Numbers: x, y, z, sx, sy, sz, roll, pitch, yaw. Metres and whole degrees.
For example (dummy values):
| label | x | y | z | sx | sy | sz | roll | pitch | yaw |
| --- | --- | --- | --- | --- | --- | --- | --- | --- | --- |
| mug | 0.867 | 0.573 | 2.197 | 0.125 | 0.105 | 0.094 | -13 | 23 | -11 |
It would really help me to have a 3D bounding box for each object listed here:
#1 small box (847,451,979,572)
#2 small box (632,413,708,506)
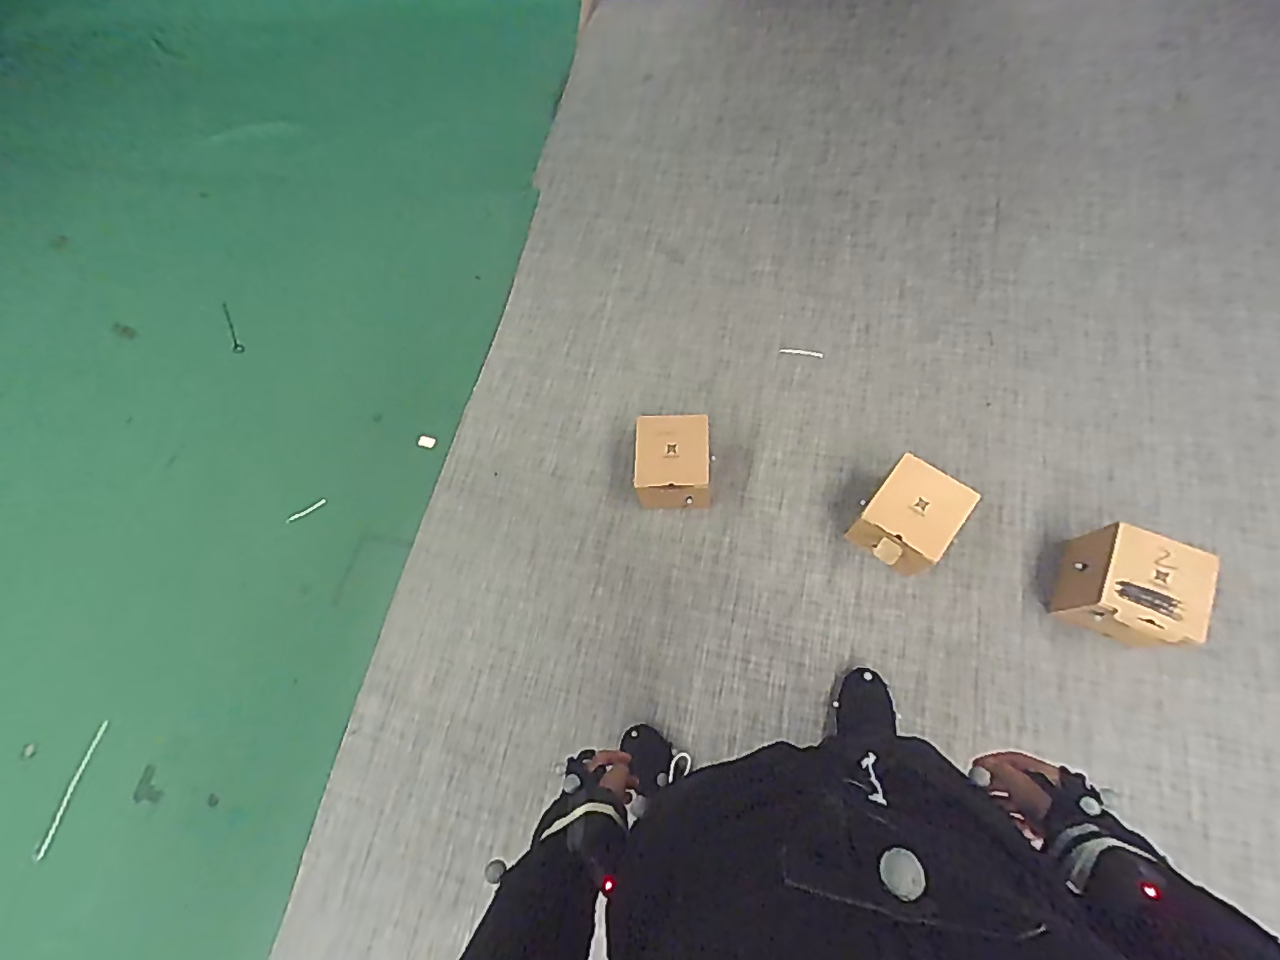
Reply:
| label | x | y | z | sx | sy | sz | roll | pitch | yaw |
| --- | --- | --- | --- | --- | --- | --- | --- | --- | --- |
| small box | 0.570 | 0.074 | 1.155 | 0.168 | 0.176 | 0.179 | 36 | 80 | 17 |
| small box | 0.076 | -0.041 | 1.268 | 0.168 | 0.176 | 0.179 | -1 | 70 | 7 |
